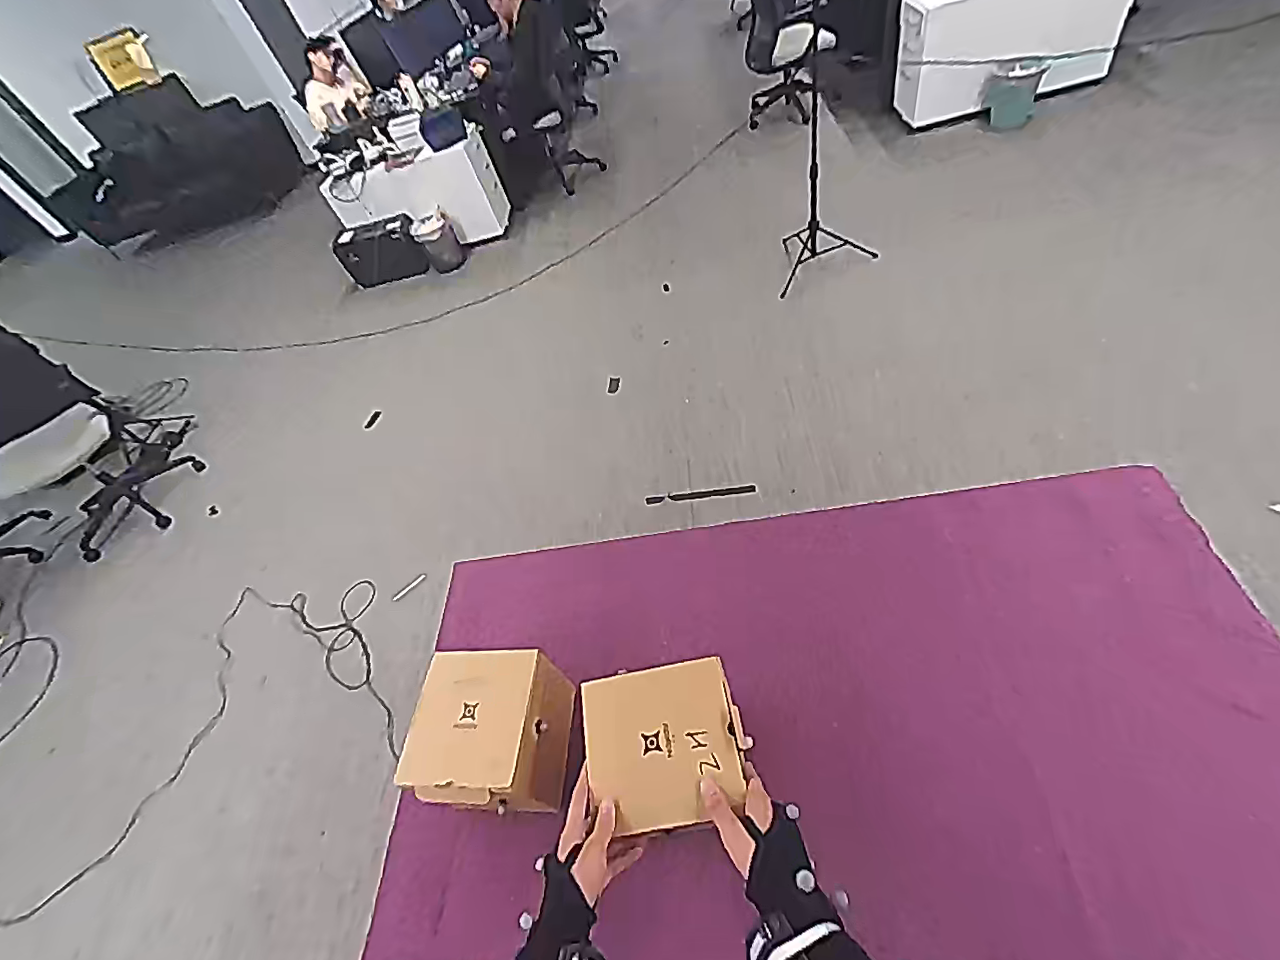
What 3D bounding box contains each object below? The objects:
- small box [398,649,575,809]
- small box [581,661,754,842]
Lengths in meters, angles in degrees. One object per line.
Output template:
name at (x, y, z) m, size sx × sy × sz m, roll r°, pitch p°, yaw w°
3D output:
small box at (-0.203, 0.358, 0.774) m, size 0.168 × 0.176 × 0.179 m, roll -4°, pitch 50°, yaw 13°
small box at (0.037, 0.342, 0.670) m, size 0.179 × 0.176 × 0.168 m, roll -12°, pitch 55°, yaw 5°
